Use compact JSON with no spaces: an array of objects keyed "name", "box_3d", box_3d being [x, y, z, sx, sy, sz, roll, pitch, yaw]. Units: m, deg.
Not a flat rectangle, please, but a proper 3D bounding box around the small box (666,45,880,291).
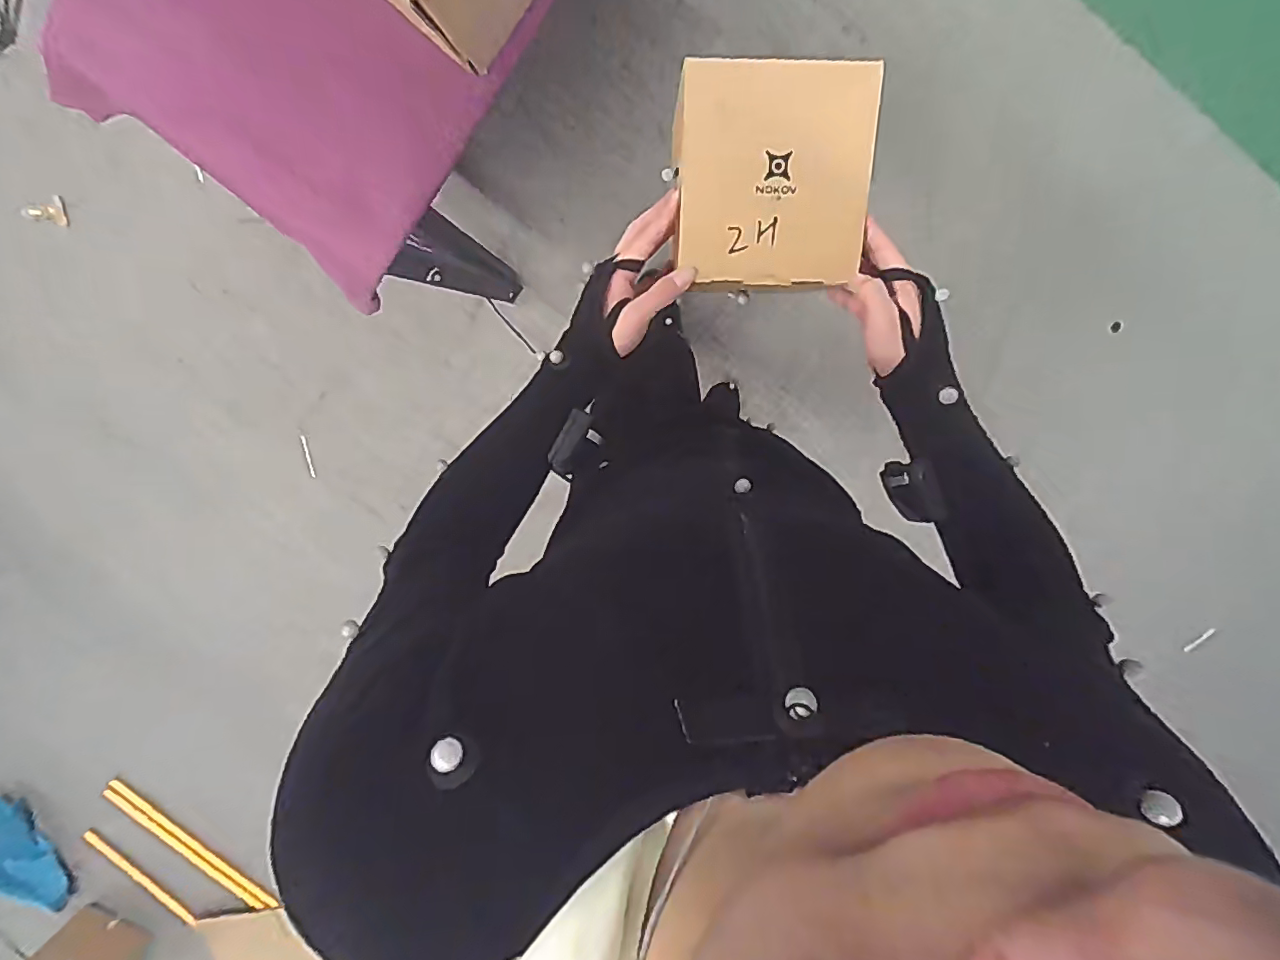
[{"name":"small box","box_3d":[0.114,-0.290,0.540,0.168,0.176,0.179,1,106,0]}]
